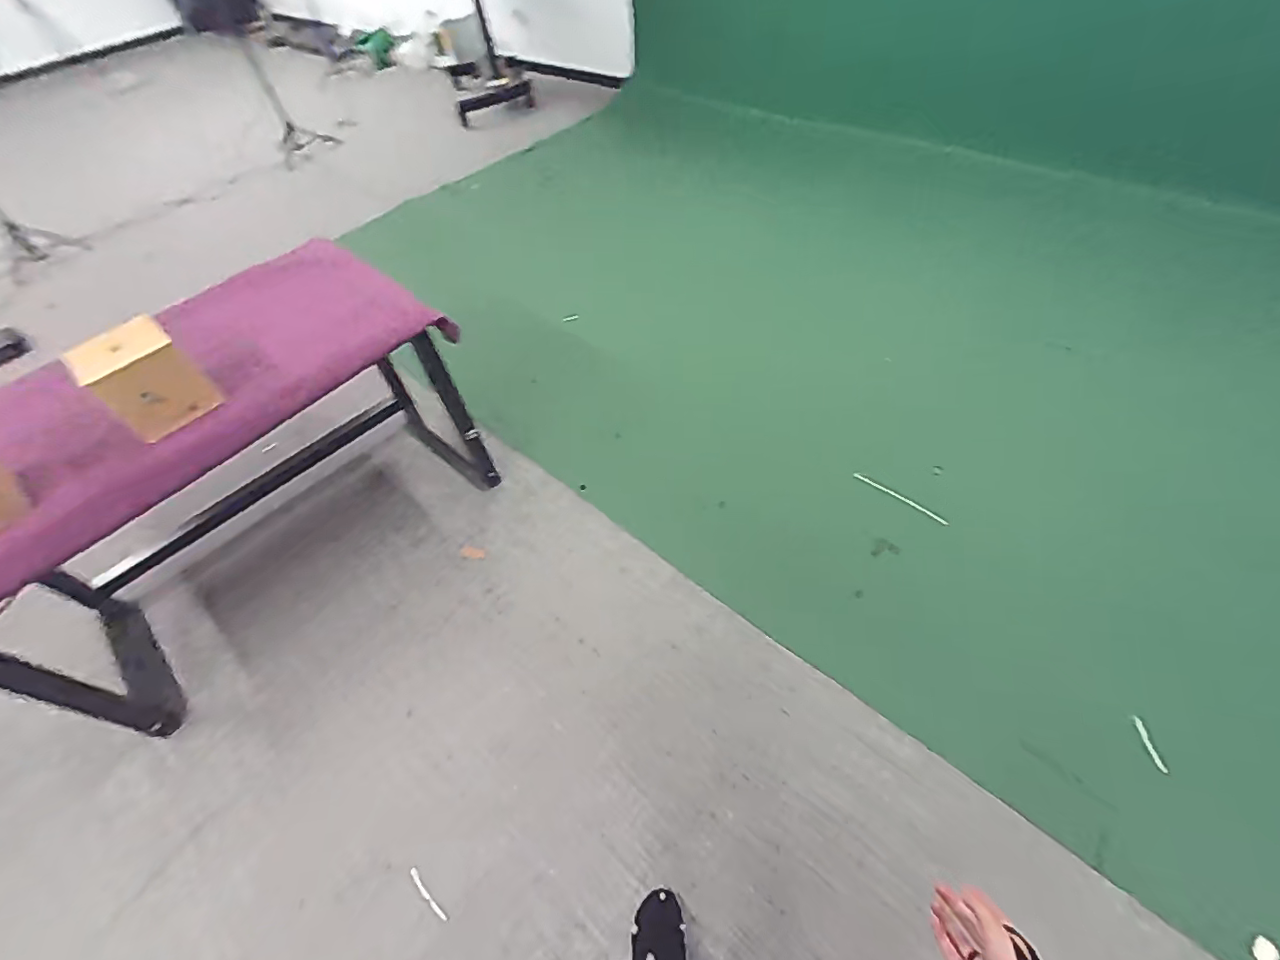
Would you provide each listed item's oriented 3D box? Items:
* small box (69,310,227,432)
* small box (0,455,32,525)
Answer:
[{"bbox_3d":[-1.038,-0.227,1.155,0.179,0.176,0.168,32,62,29],"label":"small box"},{"bbox_3d":[-1.306,0.008,0.999,0.179,0.176,0.168,34,63,27],"label":"small box"}]
